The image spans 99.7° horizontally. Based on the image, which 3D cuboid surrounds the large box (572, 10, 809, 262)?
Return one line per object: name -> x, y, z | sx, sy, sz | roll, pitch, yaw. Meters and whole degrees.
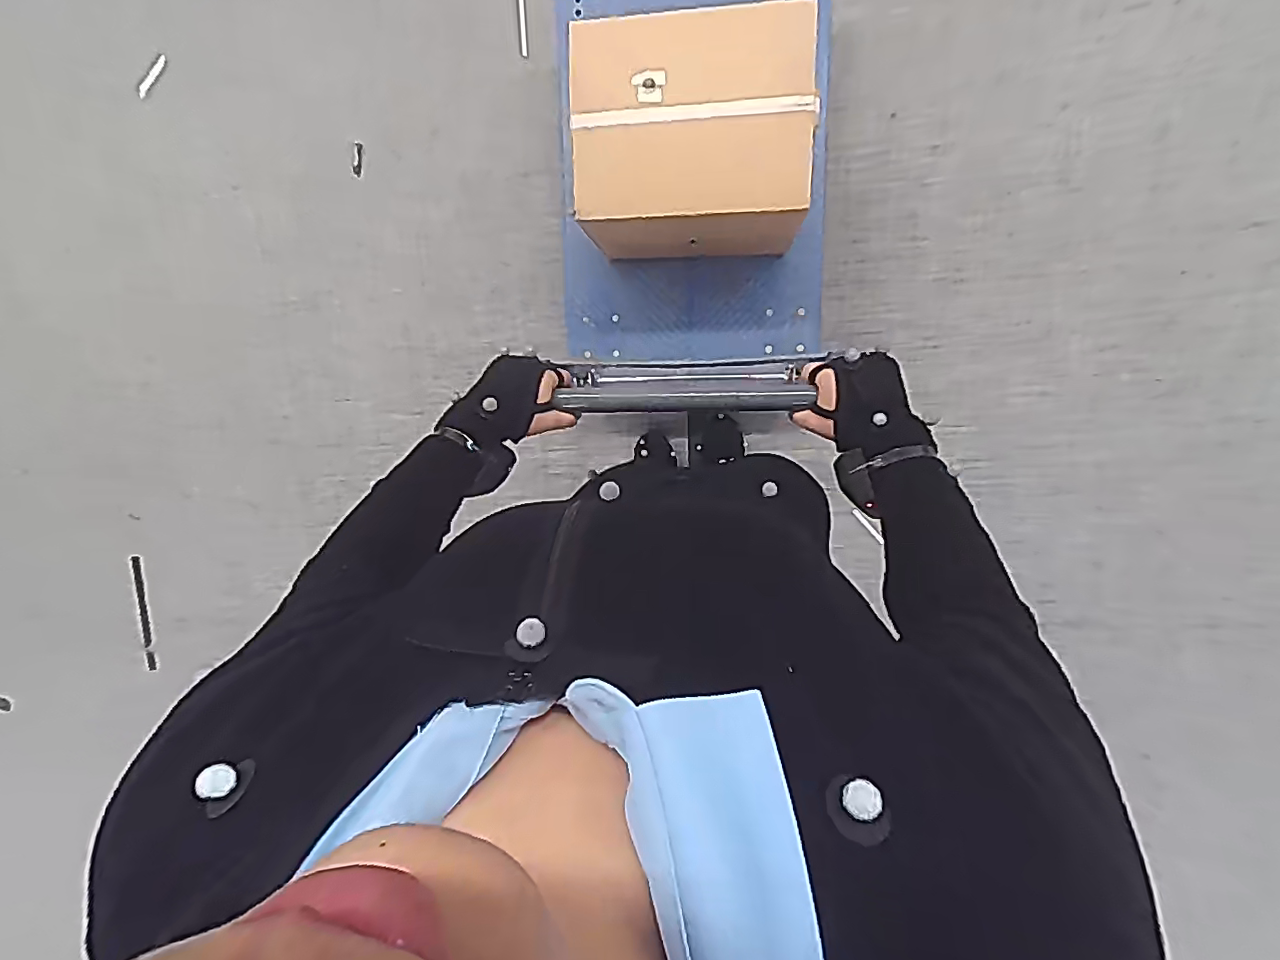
large box -> 0.105, -0.631, 1.068 | 0.408, 0.320, 0.320 | 1, 99, 9
